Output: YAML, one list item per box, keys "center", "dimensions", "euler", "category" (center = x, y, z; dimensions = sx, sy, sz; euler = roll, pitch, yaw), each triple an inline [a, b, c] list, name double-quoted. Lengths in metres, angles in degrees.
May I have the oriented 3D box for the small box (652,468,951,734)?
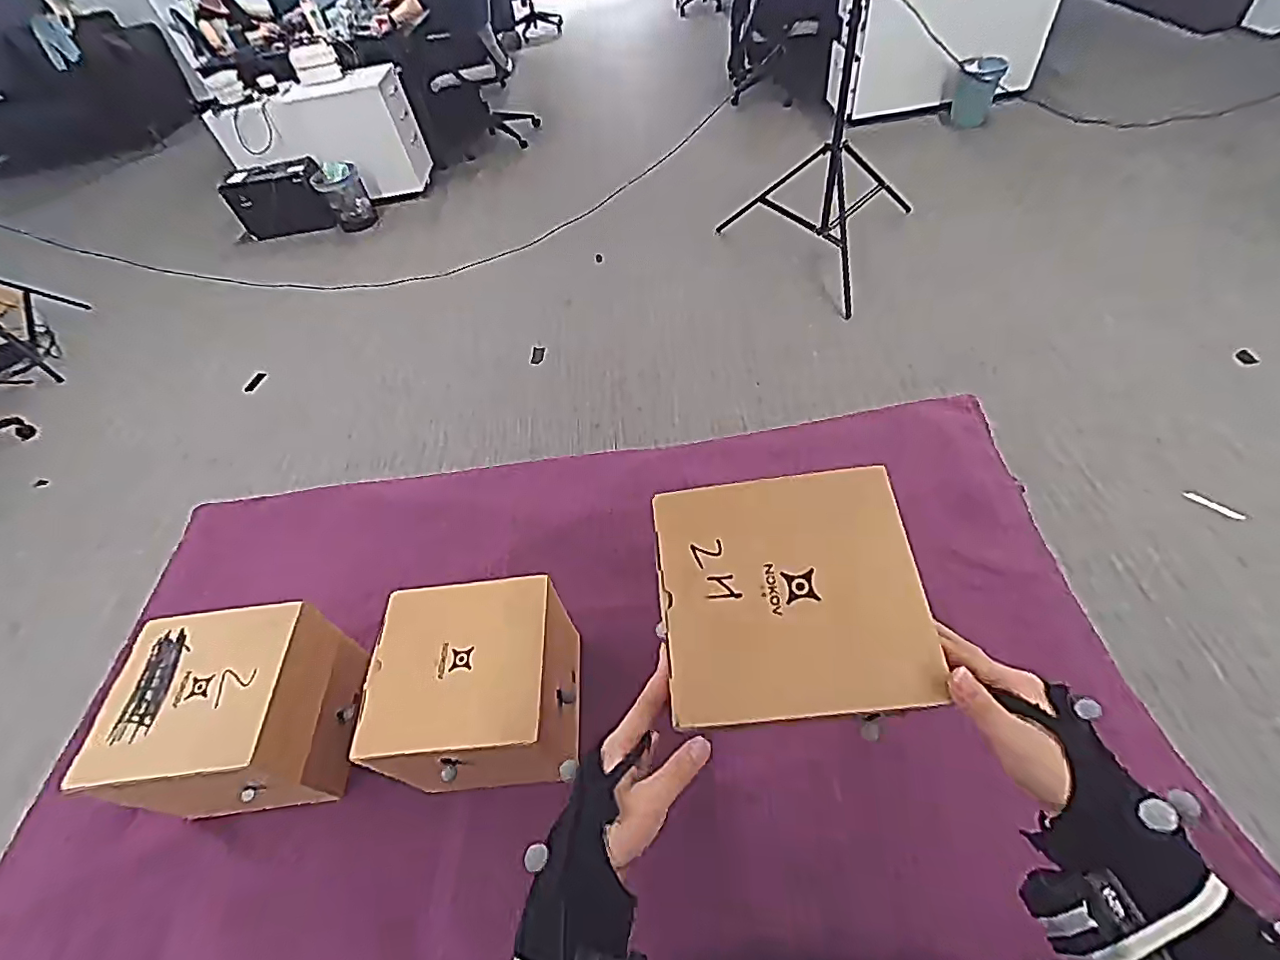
- center: [0.110, 0.109, 0.439]
  dimensions: [0.179, 0.176, 0.168]
  euler: [-8, 61, 6]
  category: "small box"

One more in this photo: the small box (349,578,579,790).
- center: [-0.166, 0.225, 0.584]
  dimensions: [0.179, 0.176, 0.168]
  euler: [-8, 51, 5]
  category: "small box"
